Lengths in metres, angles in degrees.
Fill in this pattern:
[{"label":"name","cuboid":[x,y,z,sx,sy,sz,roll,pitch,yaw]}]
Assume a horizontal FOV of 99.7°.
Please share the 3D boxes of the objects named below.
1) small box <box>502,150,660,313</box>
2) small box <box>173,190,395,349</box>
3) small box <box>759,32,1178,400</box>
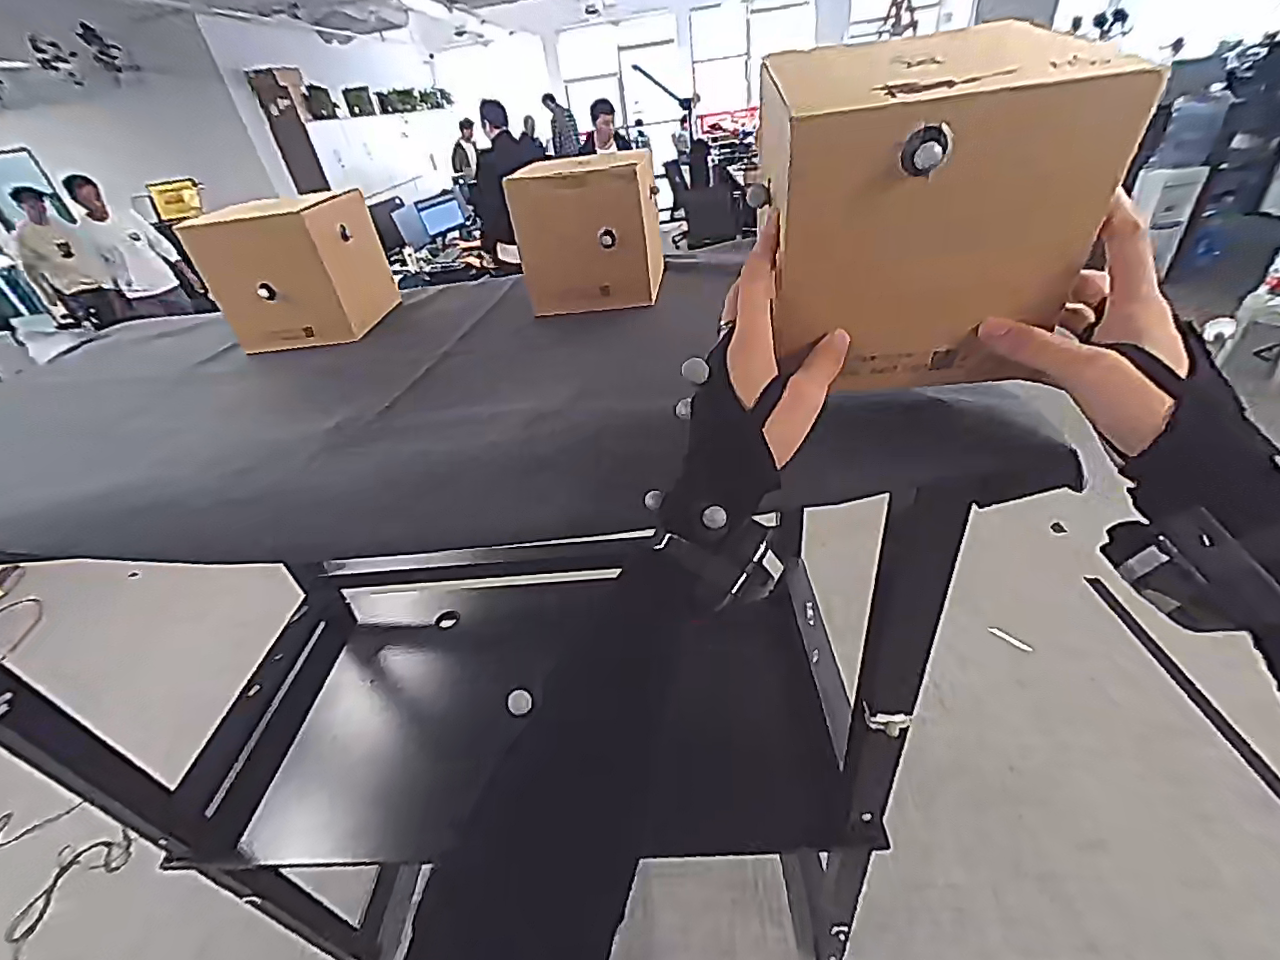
[{"label":"small box","cuboid":[-0.065,-0.333,0.736,0.168,0.176,0.179,-1,36,9]},{"label":"small box","cuboid":[-0.475,-0.291,0.760,0.168,0.176,0.179,-5,36,4]},{"label":"small box","cuboid":[0.171,-0.173,0.361,0.168,0.176,0.179,-3,44,8]}]
